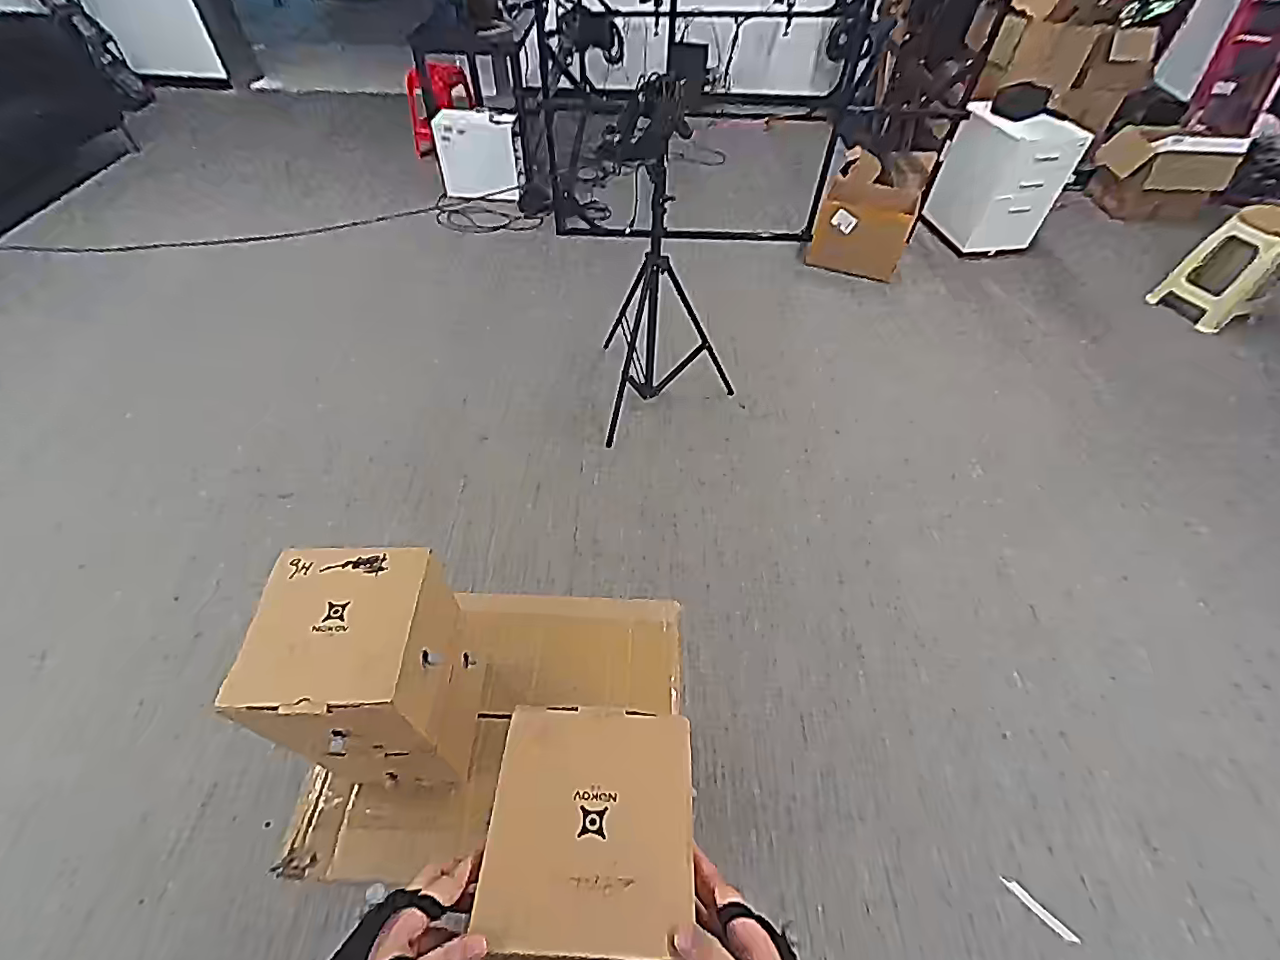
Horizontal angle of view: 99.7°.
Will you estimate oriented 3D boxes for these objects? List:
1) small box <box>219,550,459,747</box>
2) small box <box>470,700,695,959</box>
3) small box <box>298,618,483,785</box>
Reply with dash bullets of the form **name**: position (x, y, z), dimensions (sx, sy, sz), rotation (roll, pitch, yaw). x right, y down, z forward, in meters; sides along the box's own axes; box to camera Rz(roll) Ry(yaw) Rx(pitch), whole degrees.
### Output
- **small box**: position (-0.317, 0.198, 0.619), dimensions (0.168, 0.176, 0.179), rotation (0, 51, -3)
- **small box**: position (-0.044, 0.329, 0.501), dimensions (0.168, 0.176, 0.179), rotation (4, 45, -1)
- **small box**: position (-0.321, 0.304, 0.745), dimensions (0.168, 0.176, 0.179), rotation (1, 51, -2)
